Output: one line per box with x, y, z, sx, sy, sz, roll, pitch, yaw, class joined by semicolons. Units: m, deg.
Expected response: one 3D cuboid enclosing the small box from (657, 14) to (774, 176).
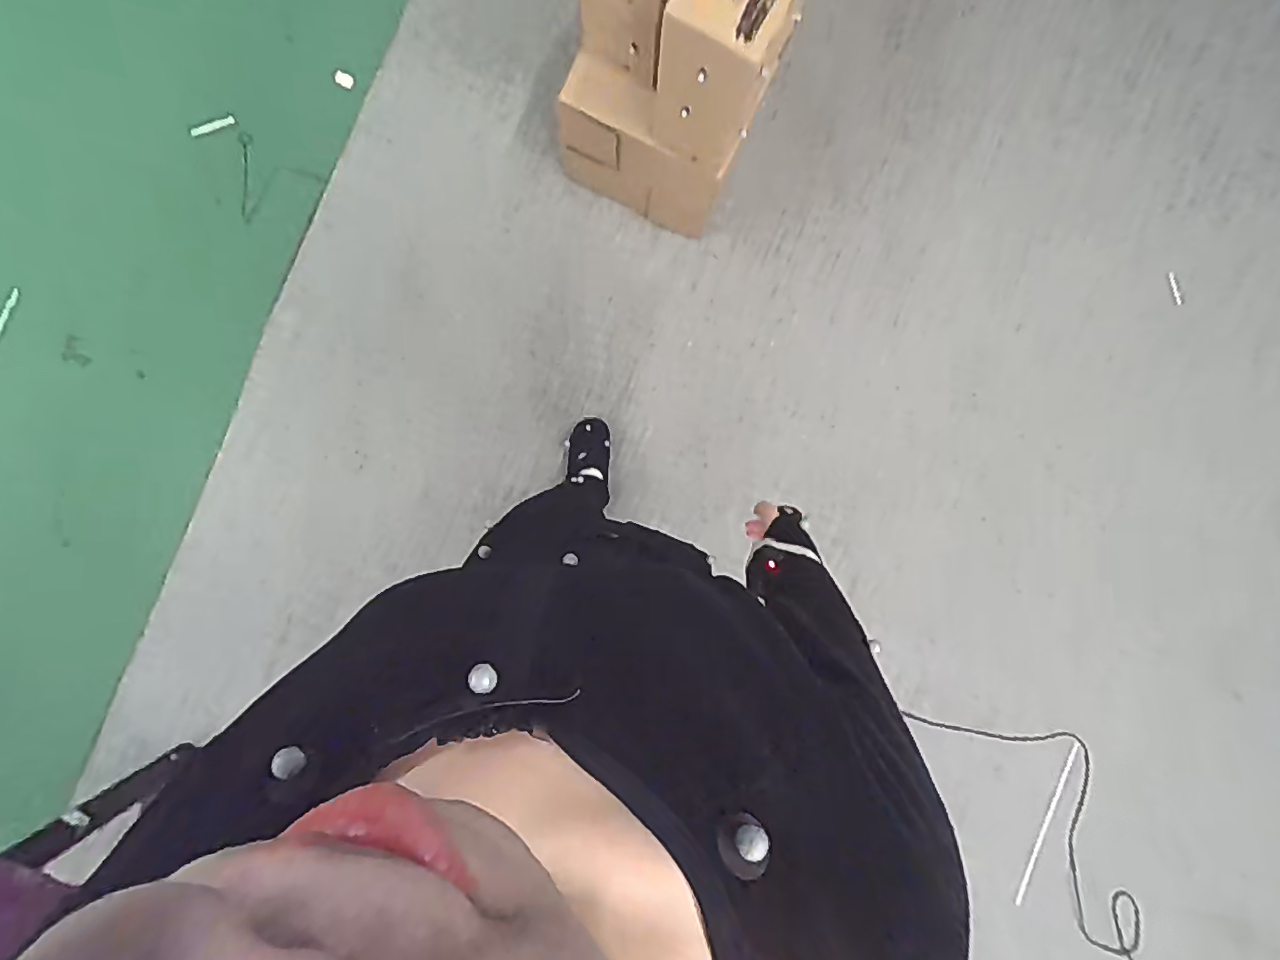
0.144;-0.777;1.110;0.168;0.176;0.179;28;87;-1;small box

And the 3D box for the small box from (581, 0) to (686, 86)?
-0.006;-0.971;1.112;0.168;0.176;0.179;26;87;-1;small box

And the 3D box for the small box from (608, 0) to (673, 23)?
0.006;-0.976;0.949;0.168;0.176;0.179;26;89;-2;small box
